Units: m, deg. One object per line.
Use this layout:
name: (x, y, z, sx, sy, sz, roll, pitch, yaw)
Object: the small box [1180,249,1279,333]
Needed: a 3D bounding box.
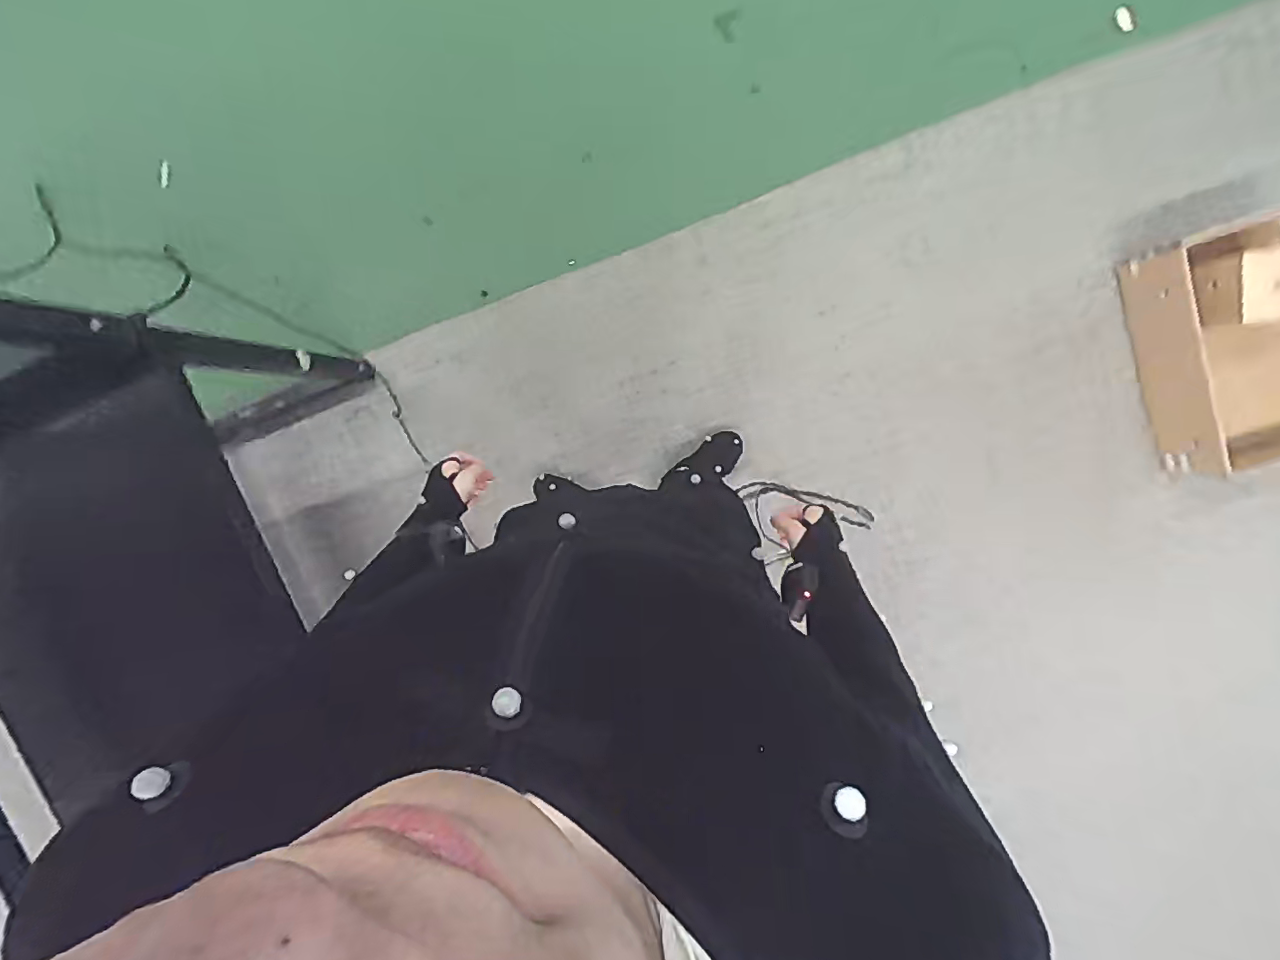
small box: (1.523, -0.474, 1.365, 0.179, 0.176, 0.168, -8, 97, 2)
